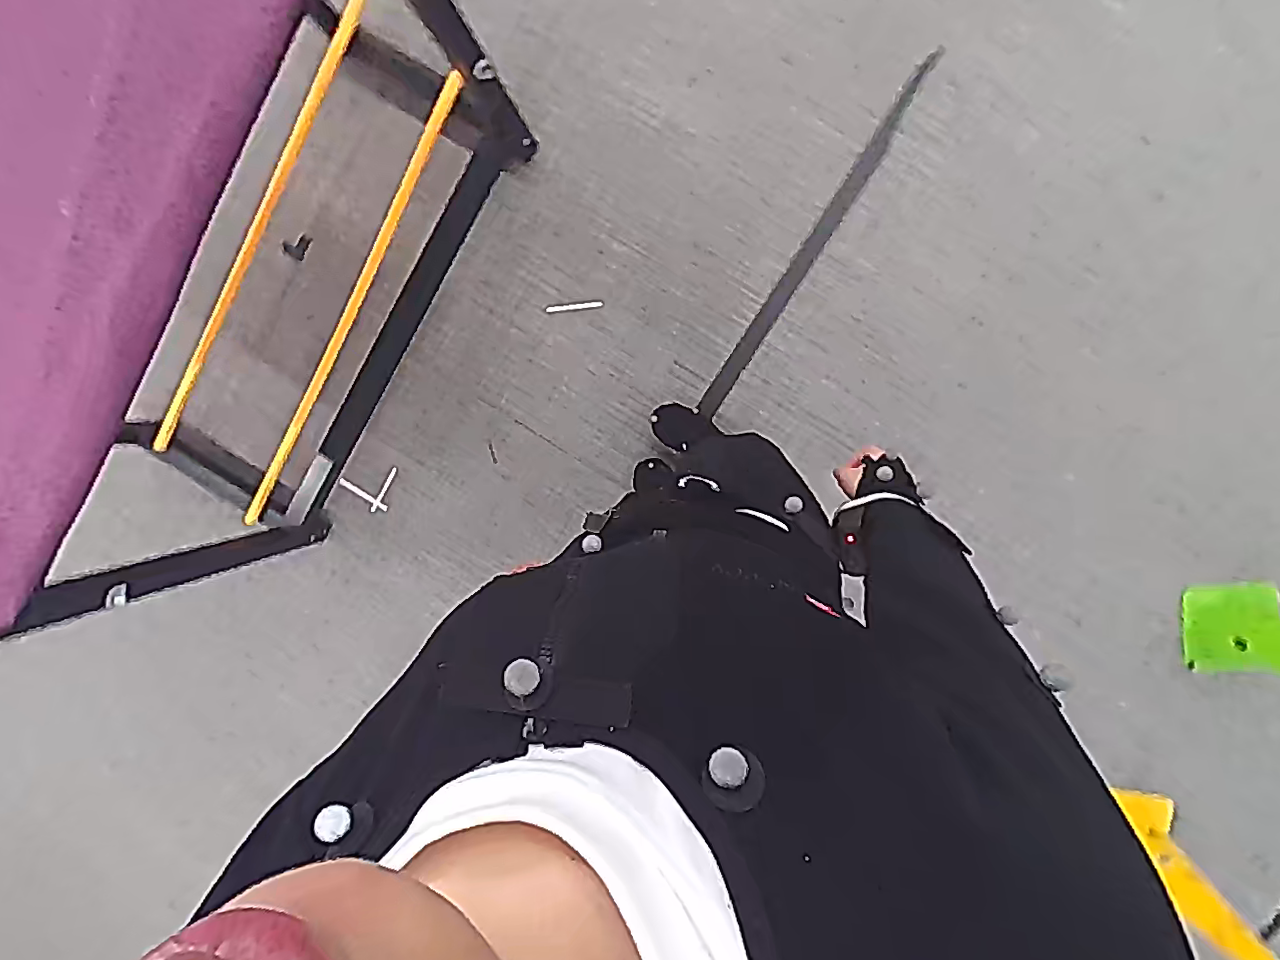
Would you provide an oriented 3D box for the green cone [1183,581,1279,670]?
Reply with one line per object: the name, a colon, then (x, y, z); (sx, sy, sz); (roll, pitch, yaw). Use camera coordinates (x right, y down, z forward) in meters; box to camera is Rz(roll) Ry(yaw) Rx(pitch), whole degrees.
green cone: (1.356, 0.350, 1.079); (0.200, 0.368, 0.202); (-7, 93, 6)
